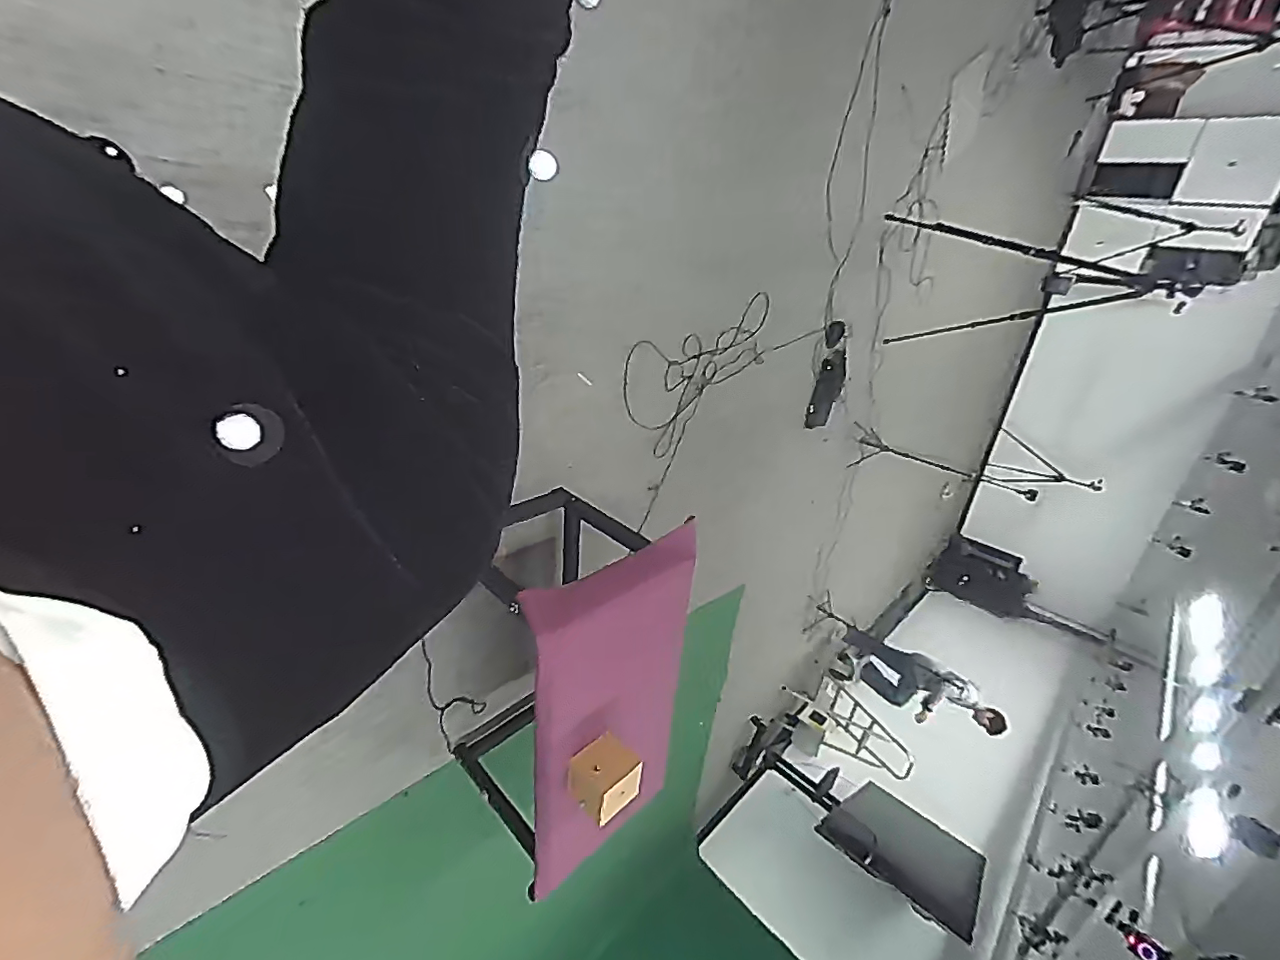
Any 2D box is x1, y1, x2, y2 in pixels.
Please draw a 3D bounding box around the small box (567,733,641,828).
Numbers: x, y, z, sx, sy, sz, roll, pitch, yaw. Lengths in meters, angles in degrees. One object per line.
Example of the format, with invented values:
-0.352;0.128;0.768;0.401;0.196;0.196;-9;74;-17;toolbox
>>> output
-0.124;0.983;1.781;0.179;0.176;0.168;-18;125;-44;small box
